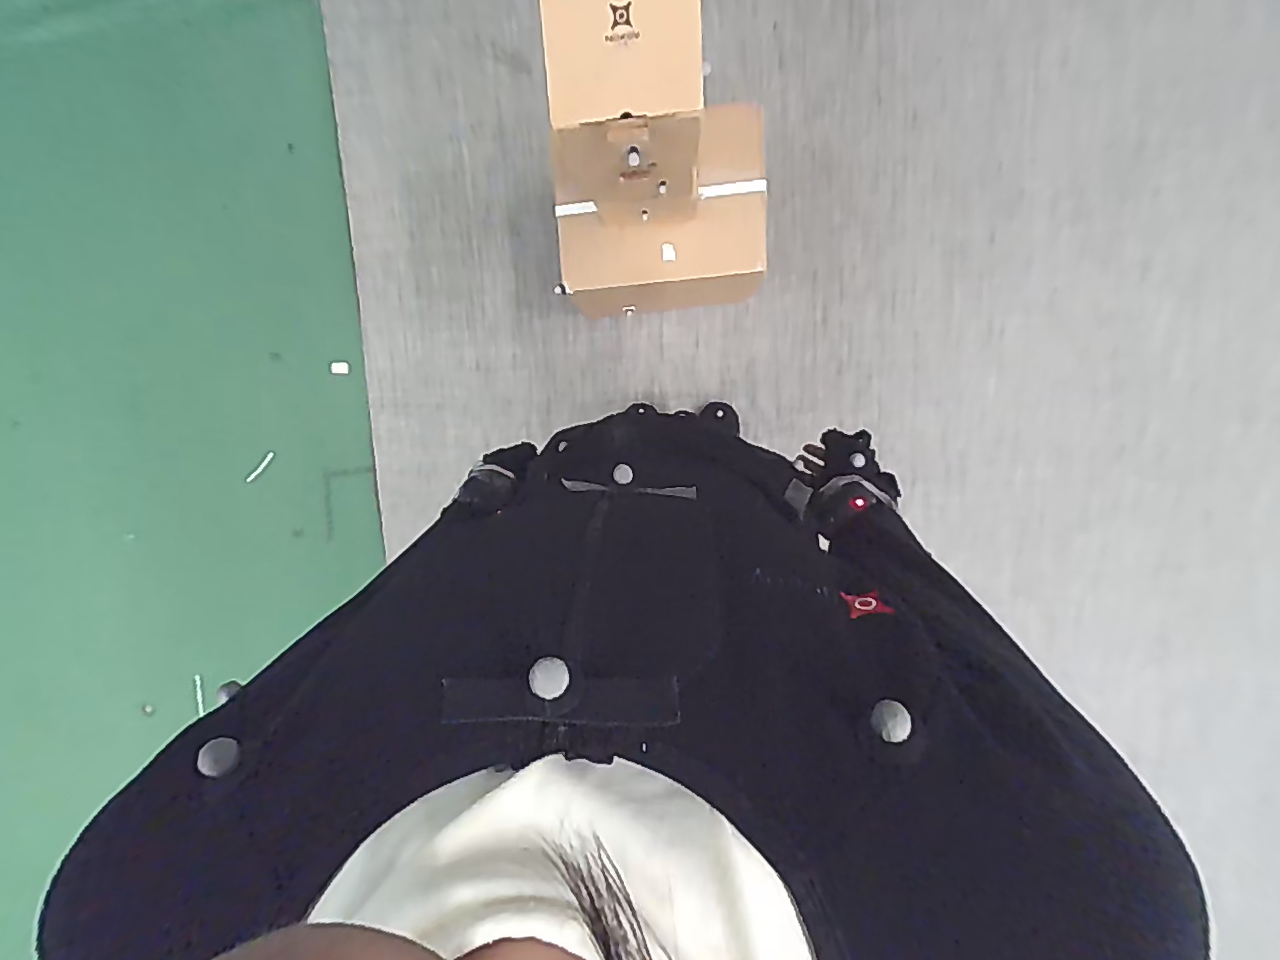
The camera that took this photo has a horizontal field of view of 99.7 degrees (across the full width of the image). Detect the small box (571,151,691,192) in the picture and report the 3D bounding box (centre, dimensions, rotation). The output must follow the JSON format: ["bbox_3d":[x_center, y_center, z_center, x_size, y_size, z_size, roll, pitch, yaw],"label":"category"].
[{"bbox_3d":[-0.009,-0.536,0.792,0.168,0.176,0.179,-2,103,5],"label":"small box"}]

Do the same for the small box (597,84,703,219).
[{"bbox_3d":[0.014,-0.570,0.949,0.179,0.176,0.168,-4,105,6],"label":"small box"}]

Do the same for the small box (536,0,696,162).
[{"bbox_3d":[-0.018,-0.492,0.635,0.168,0.176,0.179,-2,105,5],"label":"small box"}]
